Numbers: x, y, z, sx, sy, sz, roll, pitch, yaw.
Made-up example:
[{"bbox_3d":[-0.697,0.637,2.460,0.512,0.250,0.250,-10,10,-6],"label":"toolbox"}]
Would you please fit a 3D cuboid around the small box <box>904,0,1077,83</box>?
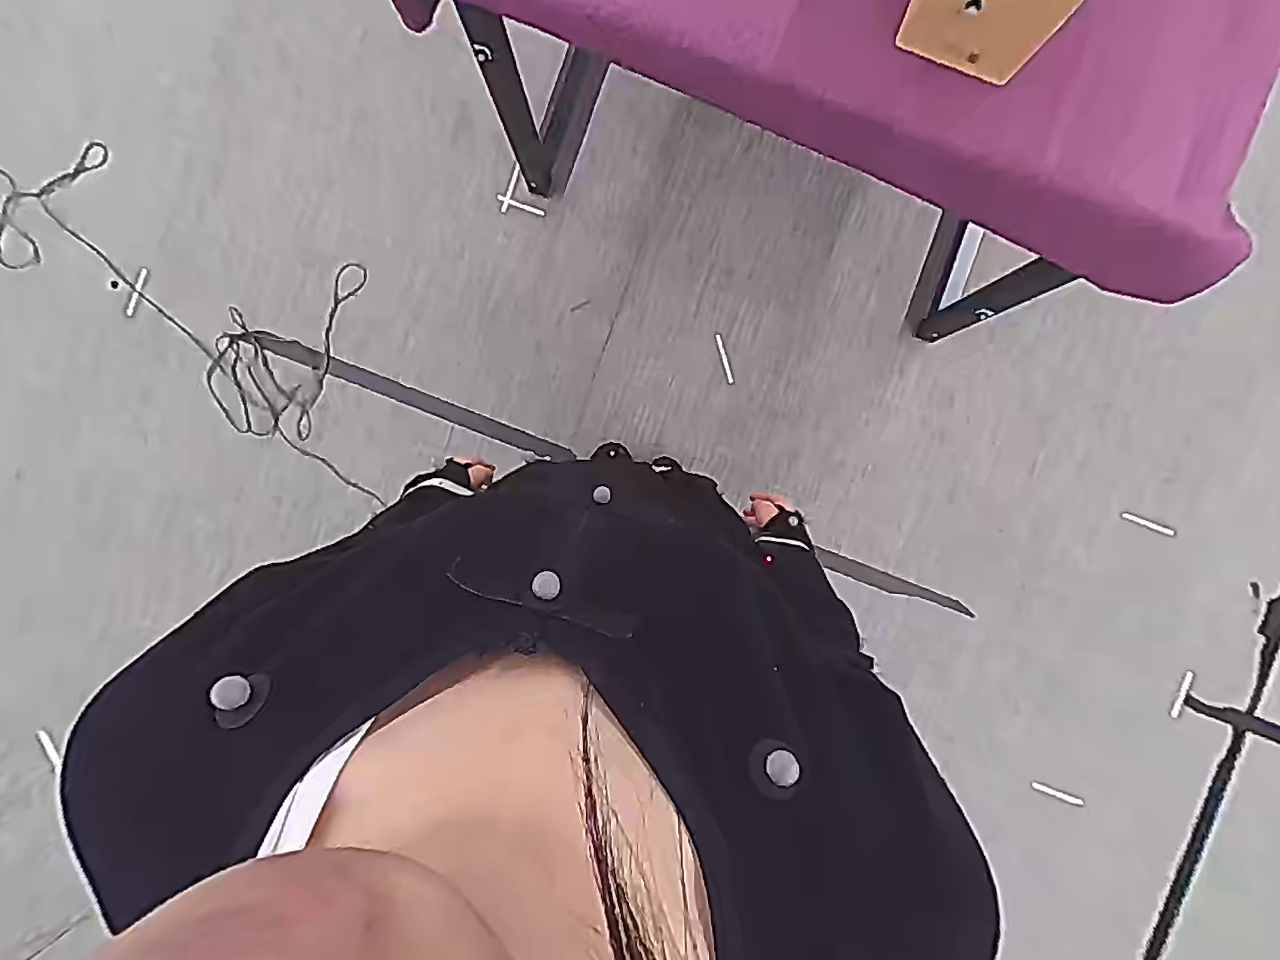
[{"bbox_3d":[0.465,-0.658,0.682,0.168,0.176,0.179,21,90,0],"label":"small box"}]
